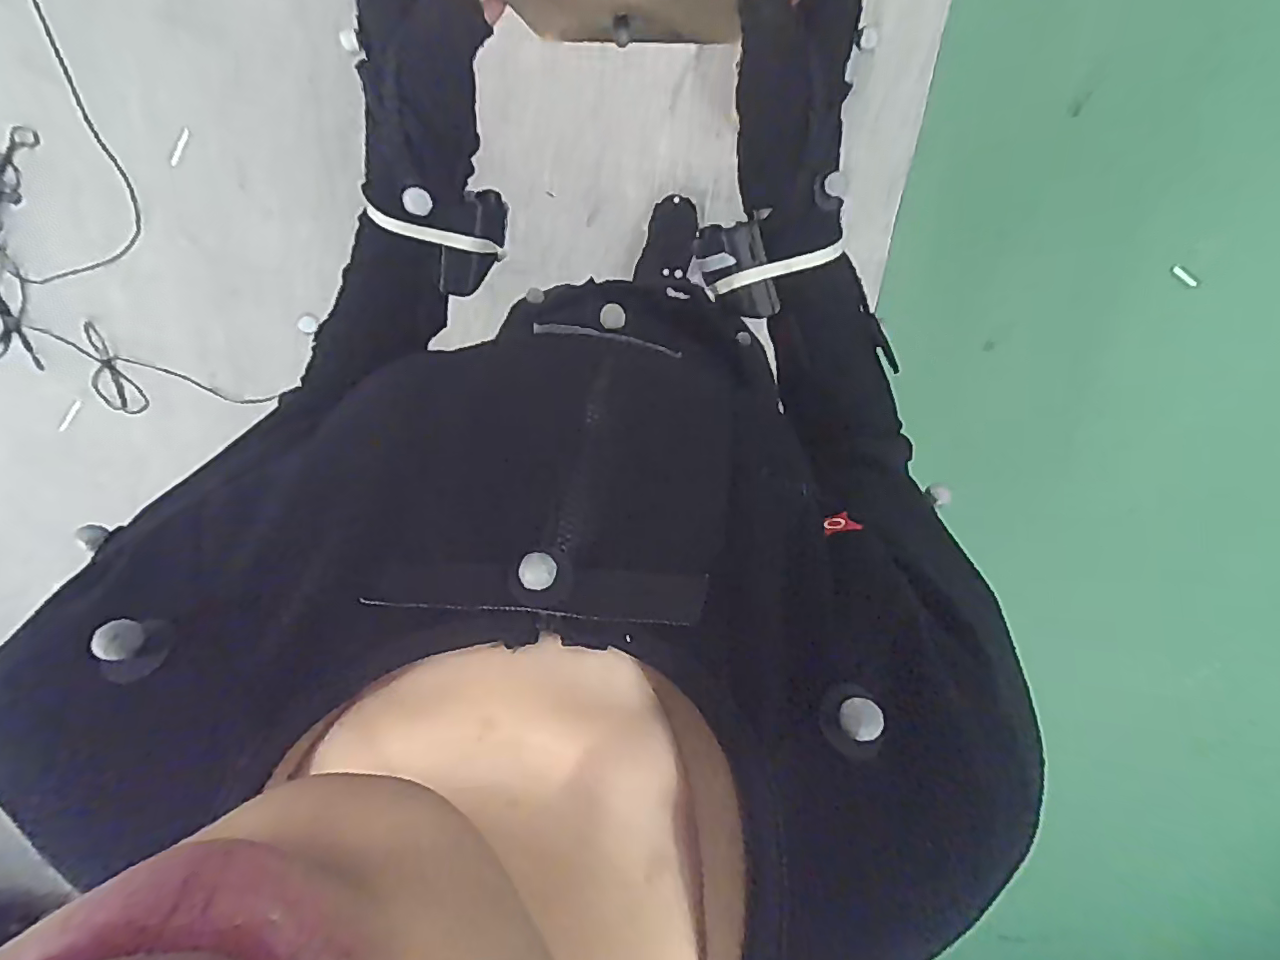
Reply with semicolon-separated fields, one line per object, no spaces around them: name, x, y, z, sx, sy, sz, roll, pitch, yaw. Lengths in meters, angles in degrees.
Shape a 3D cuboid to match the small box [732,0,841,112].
small box;0.275;-0.829;1.049;0.168;0.176;0.179;3;117;2
